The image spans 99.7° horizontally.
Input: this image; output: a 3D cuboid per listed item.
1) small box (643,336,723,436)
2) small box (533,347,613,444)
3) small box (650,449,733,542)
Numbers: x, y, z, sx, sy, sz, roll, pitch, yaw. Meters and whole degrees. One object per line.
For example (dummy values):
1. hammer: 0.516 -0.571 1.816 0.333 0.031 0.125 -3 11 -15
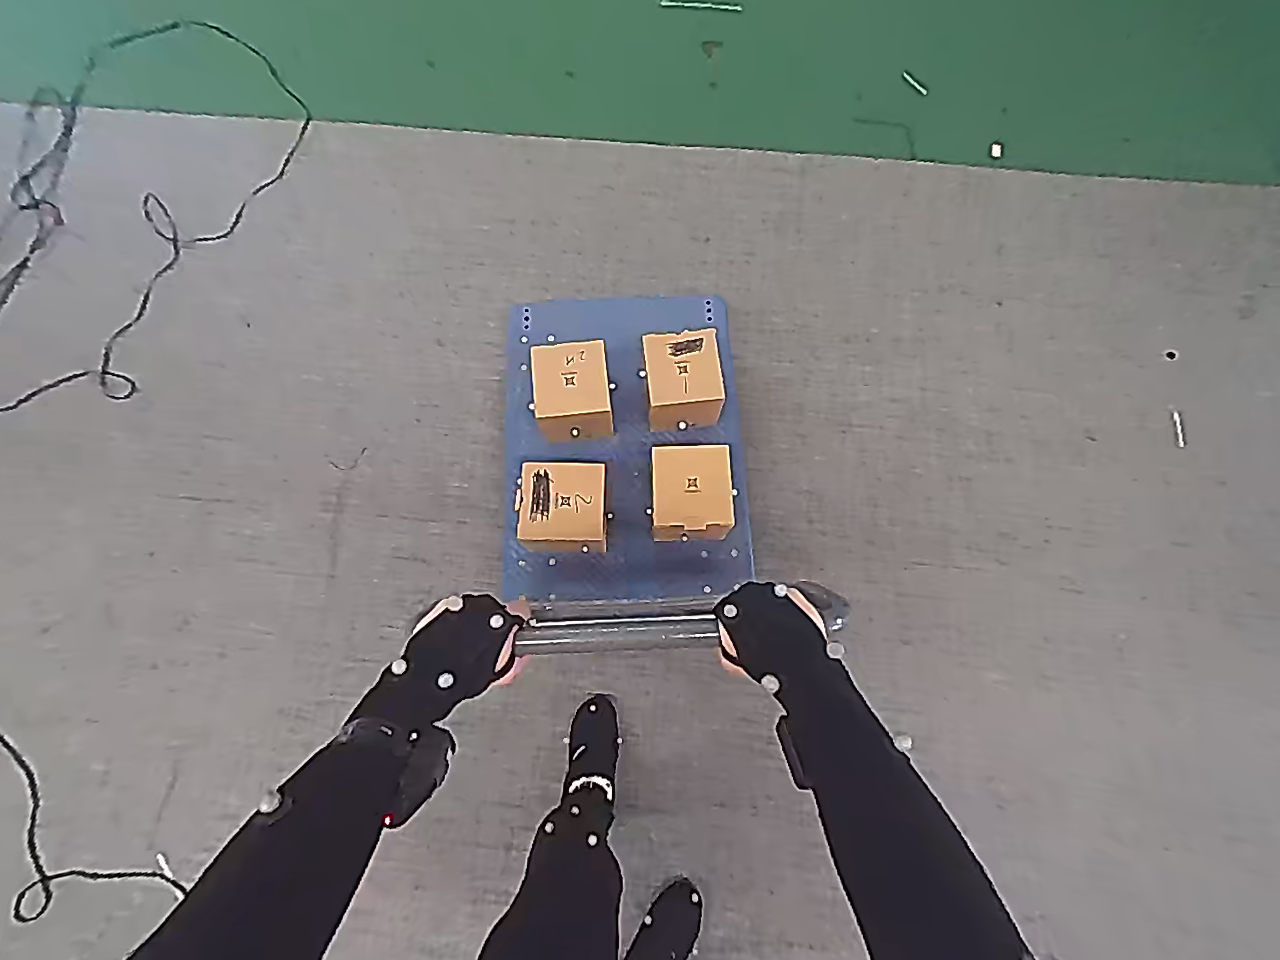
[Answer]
1. small box: 0.096 -0.221 1.293 0.168 0.176 0.179 -6 75 -1
2. small box: -0.154 -0.192 1.286 0.168 0.176 0.179 -6 74 -2
3. small box: 0.109 0.040 1.221 0.168 0.176 0.179 -2 75 -1
